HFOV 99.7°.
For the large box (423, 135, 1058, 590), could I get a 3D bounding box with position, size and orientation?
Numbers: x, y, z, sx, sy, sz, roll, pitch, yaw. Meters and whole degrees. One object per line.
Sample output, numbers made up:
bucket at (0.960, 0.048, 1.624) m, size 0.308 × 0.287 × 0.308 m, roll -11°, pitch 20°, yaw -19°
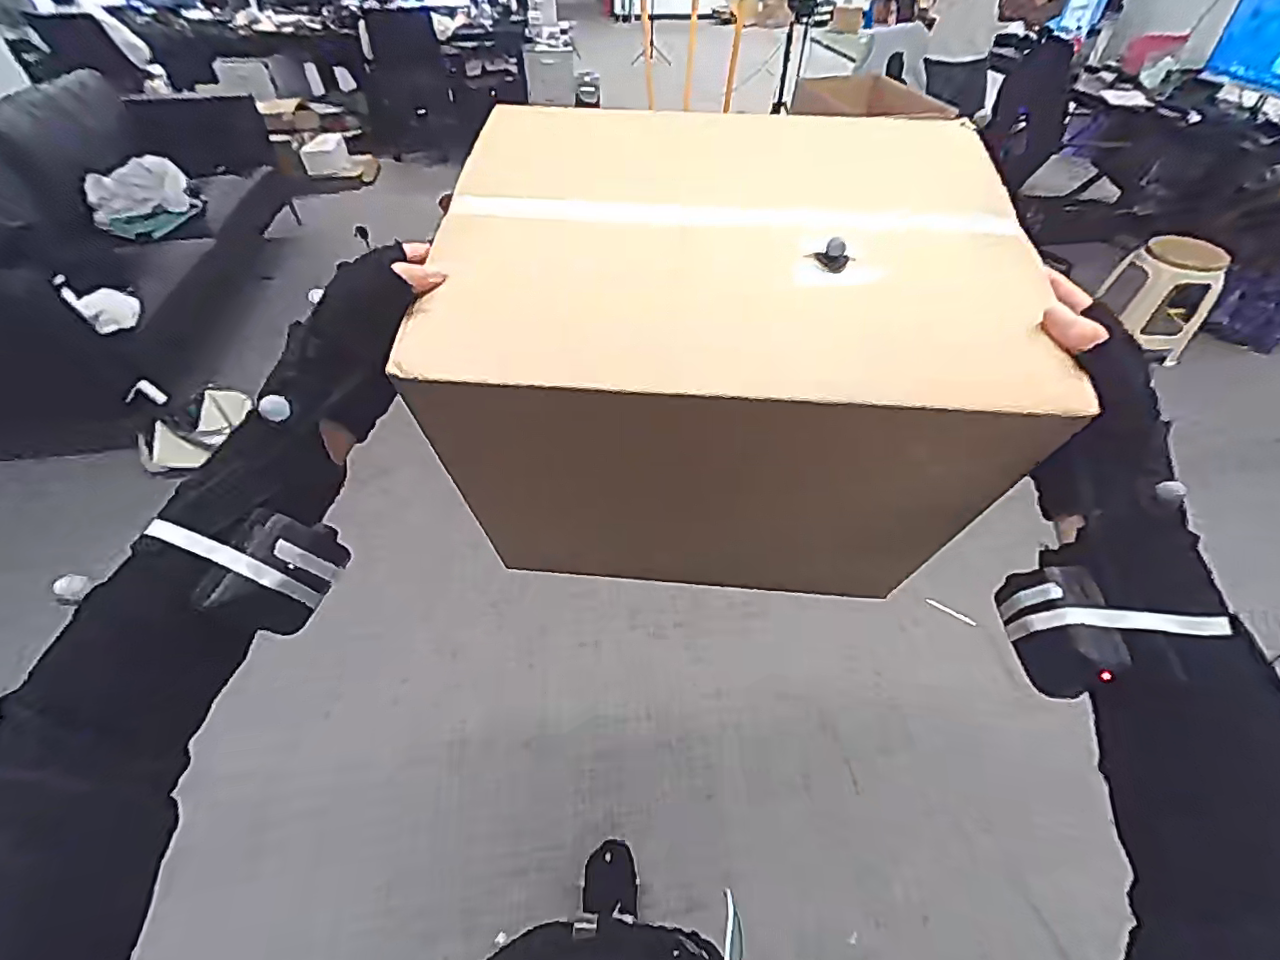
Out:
large box at (0.066, -0.097, 0.537) m, size 0.408 × 0.320 × 0.320 m, roll 4°, pitch 60°, yaw 2°
